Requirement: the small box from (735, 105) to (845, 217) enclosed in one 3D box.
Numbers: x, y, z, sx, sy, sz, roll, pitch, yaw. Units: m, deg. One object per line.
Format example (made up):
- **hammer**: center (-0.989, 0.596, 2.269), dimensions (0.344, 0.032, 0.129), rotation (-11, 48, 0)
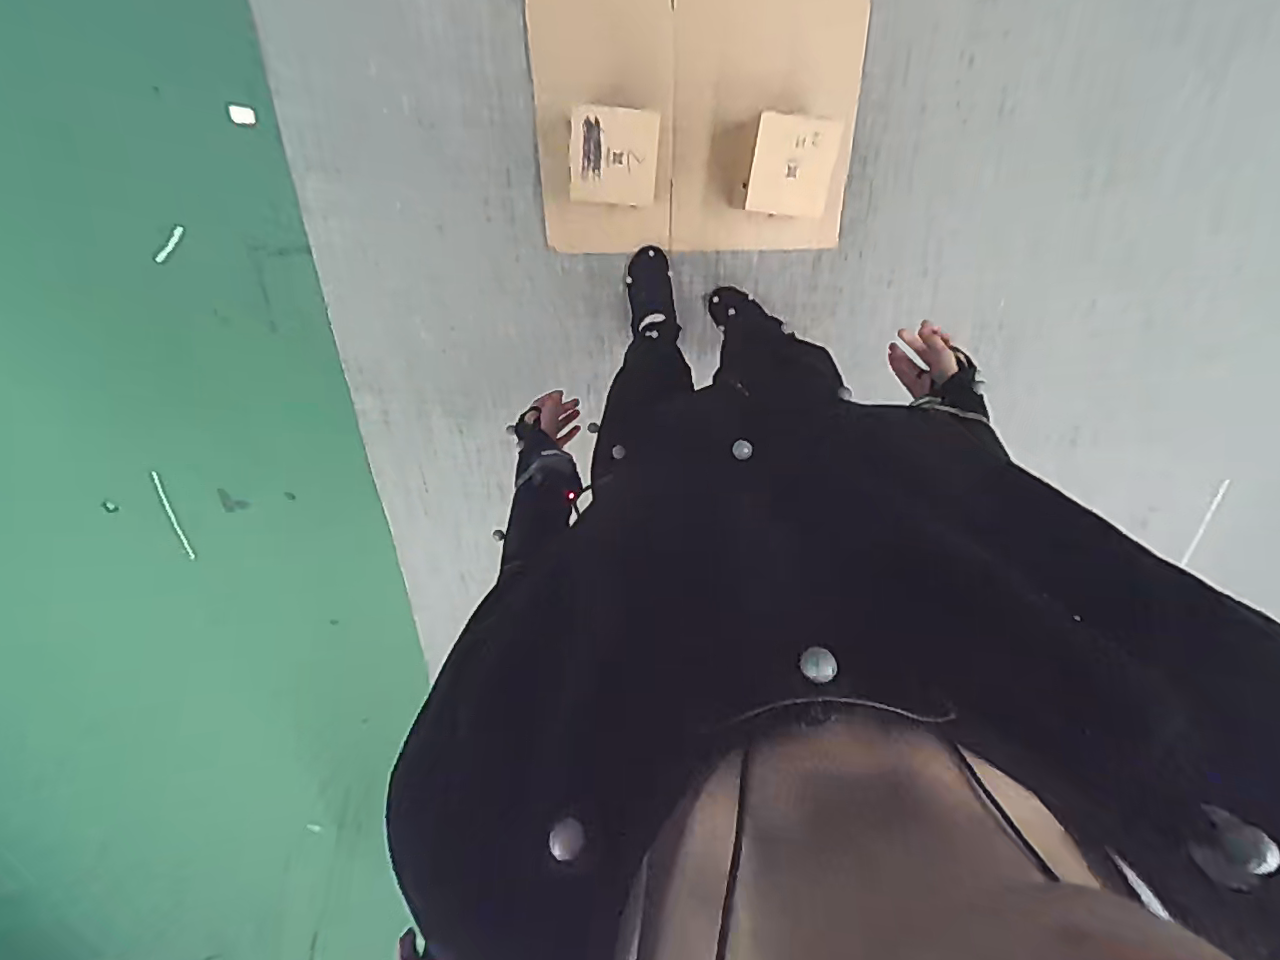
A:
- **small box**: center (0.303, -0.662, 1.138), dimensions (0.168, 0.176, 0.179), rotation (5, 116, -4)
